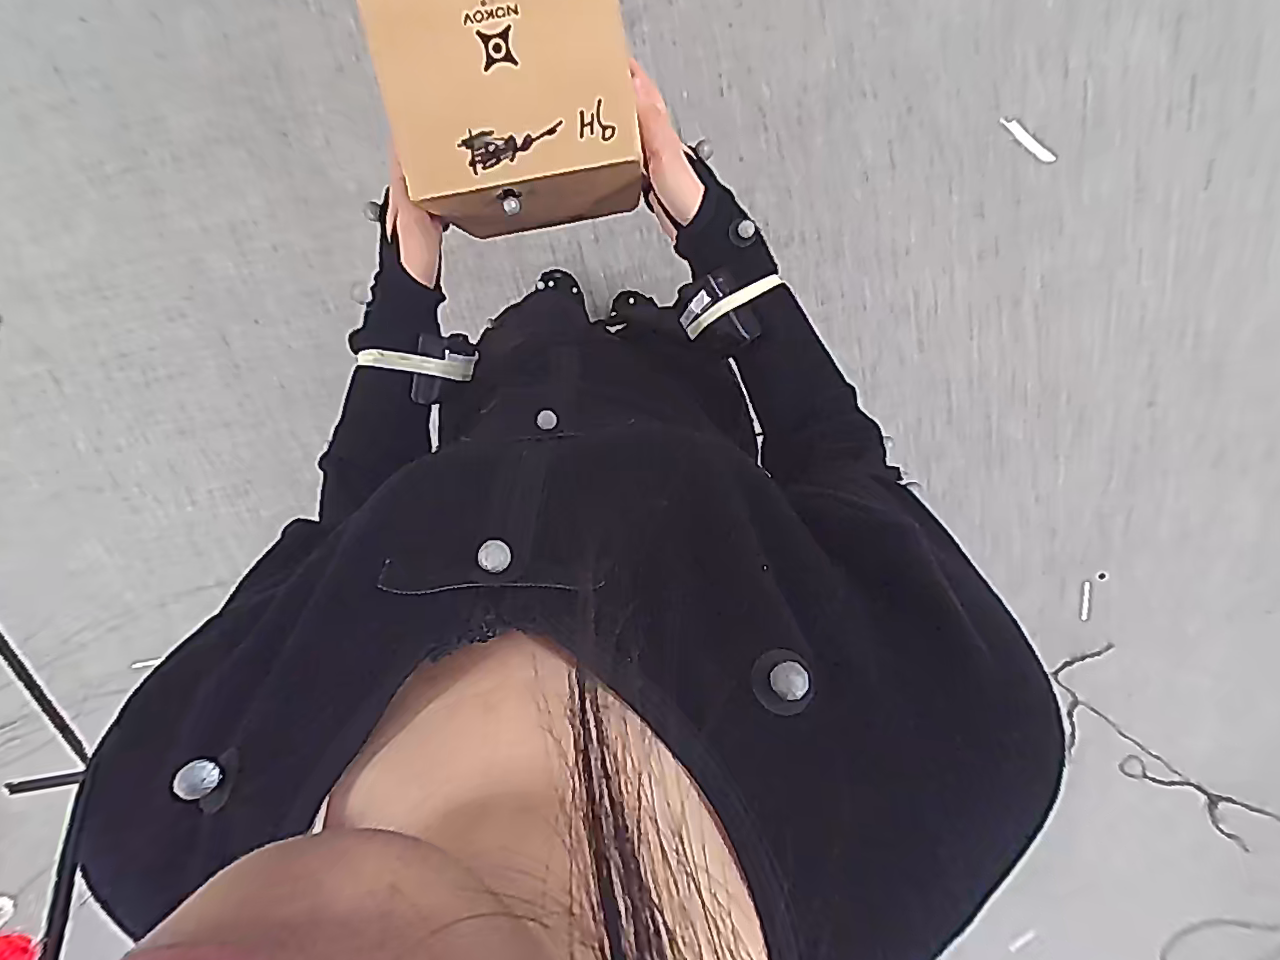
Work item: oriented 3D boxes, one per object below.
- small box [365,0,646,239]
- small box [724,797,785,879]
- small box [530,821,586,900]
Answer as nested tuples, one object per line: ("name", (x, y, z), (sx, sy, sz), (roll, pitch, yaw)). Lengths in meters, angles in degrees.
("small box", (-0.092, -0.308, 0.425), (0.168, 0.176, 0.179), (-10, 105, 1))
("small box", (0.397, 1.239, 1.888), (0.168, 0.176, 0.179), (-11, 110, 3))
("small box", (-0.287, 1.339, 1.911), (0.179, 0.176, 0.168), (4, 109, -4))
